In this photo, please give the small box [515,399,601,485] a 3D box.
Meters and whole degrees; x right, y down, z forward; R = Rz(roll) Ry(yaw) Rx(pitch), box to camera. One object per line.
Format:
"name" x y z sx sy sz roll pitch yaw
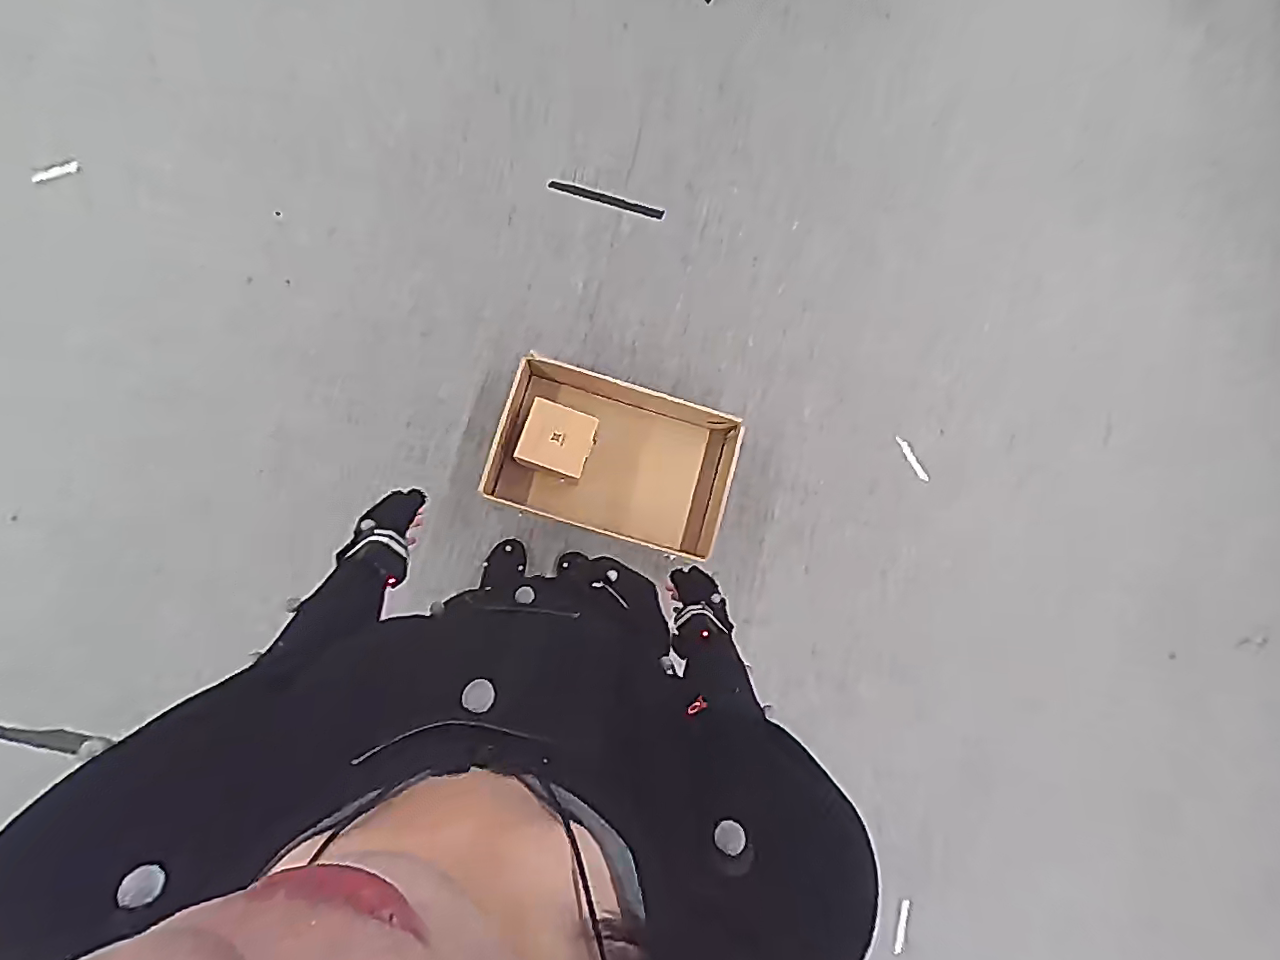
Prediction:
"small box" -0.215 -0.093 1.438 0.179 0.176 0.168 20 80 -4
